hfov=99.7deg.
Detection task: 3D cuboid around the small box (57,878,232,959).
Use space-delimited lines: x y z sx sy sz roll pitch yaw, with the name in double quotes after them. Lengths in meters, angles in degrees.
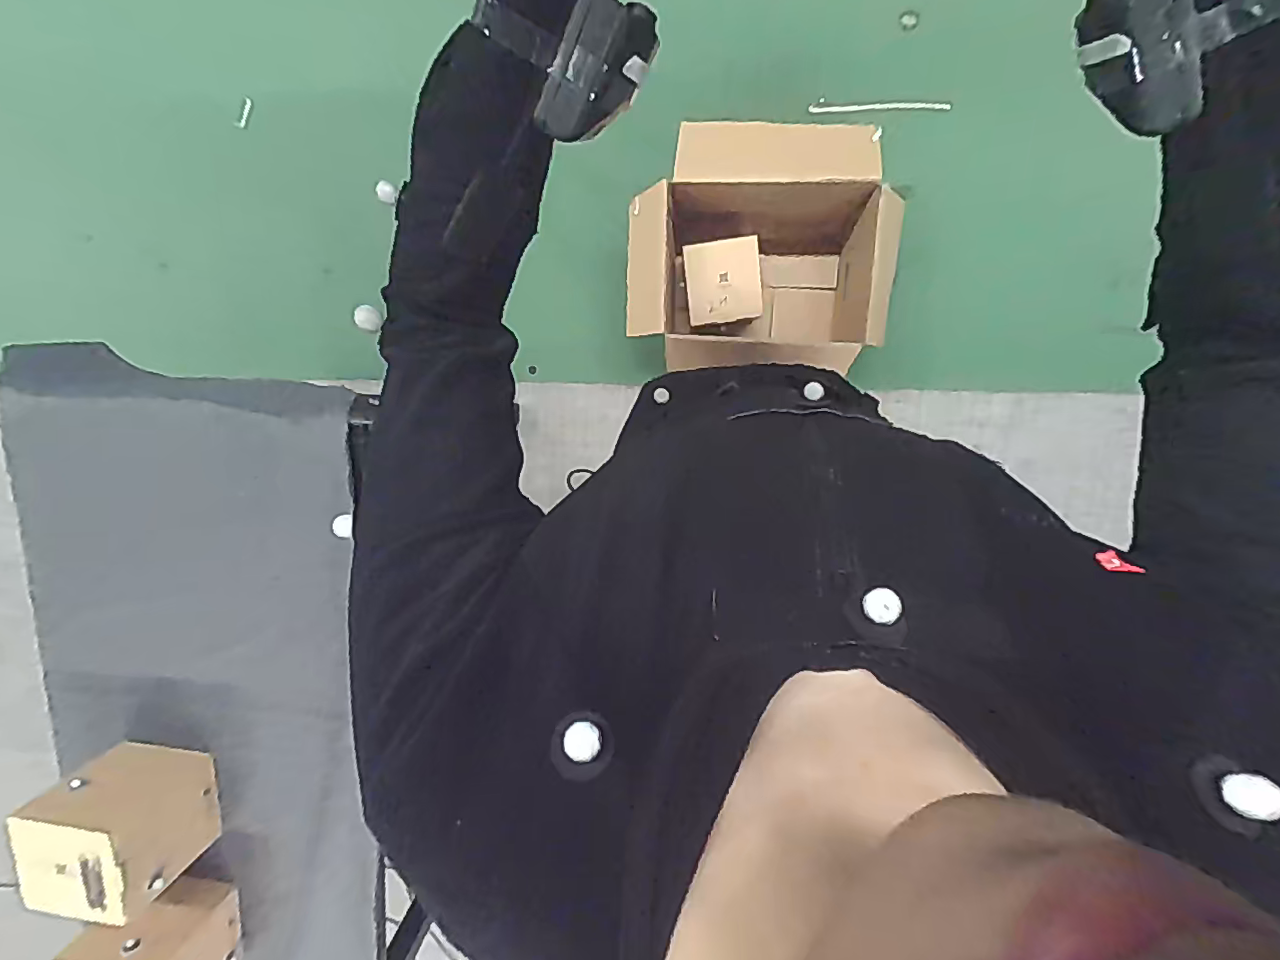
-0.828 0.818 0.910 0.179 0.176 0.168 6 100 6 "small box"
